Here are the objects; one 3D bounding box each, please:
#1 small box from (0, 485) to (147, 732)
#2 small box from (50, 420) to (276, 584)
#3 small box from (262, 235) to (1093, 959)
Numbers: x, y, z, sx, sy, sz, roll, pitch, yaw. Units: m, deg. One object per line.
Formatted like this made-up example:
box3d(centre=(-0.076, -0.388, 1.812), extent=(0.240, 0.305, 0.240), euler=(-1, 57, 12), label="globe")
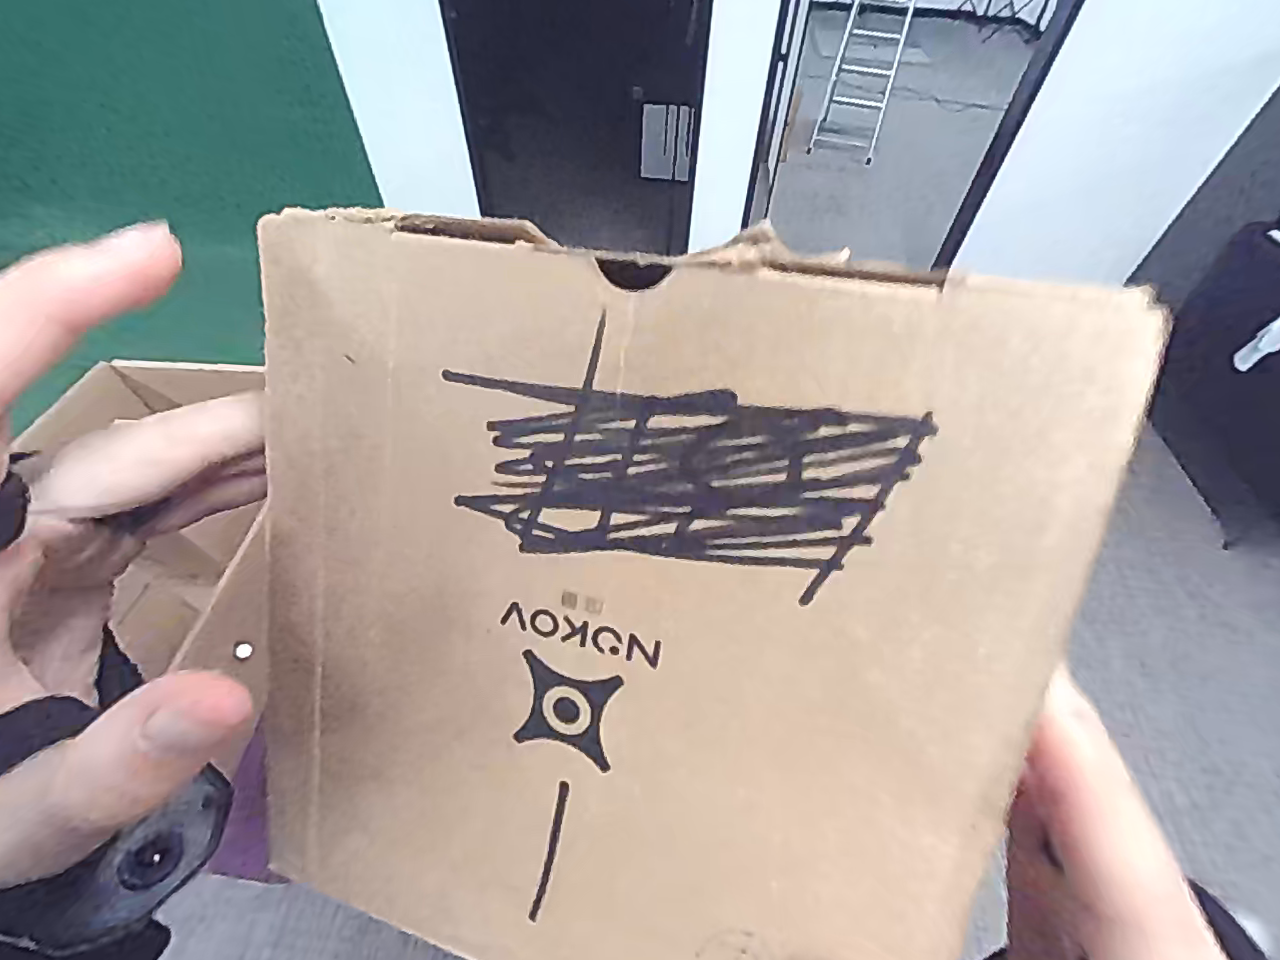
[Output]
box3d(centre=(-0.627, 0.116, 0.486), extent=(0.179, 0.176, 0.168), euler=(3, 51, 1), label="small box")
box3d(centre=(-0.646, 0.035, 0.766), extent=(0.168, 0.176, 0.179), euler=(1, 51, 0), label="small box")
box3d(centre=(0.004, 0.031, 0.199), extent=(0.168, 0.179, 0.176), euler=(12, 13, 12), label="small box")
